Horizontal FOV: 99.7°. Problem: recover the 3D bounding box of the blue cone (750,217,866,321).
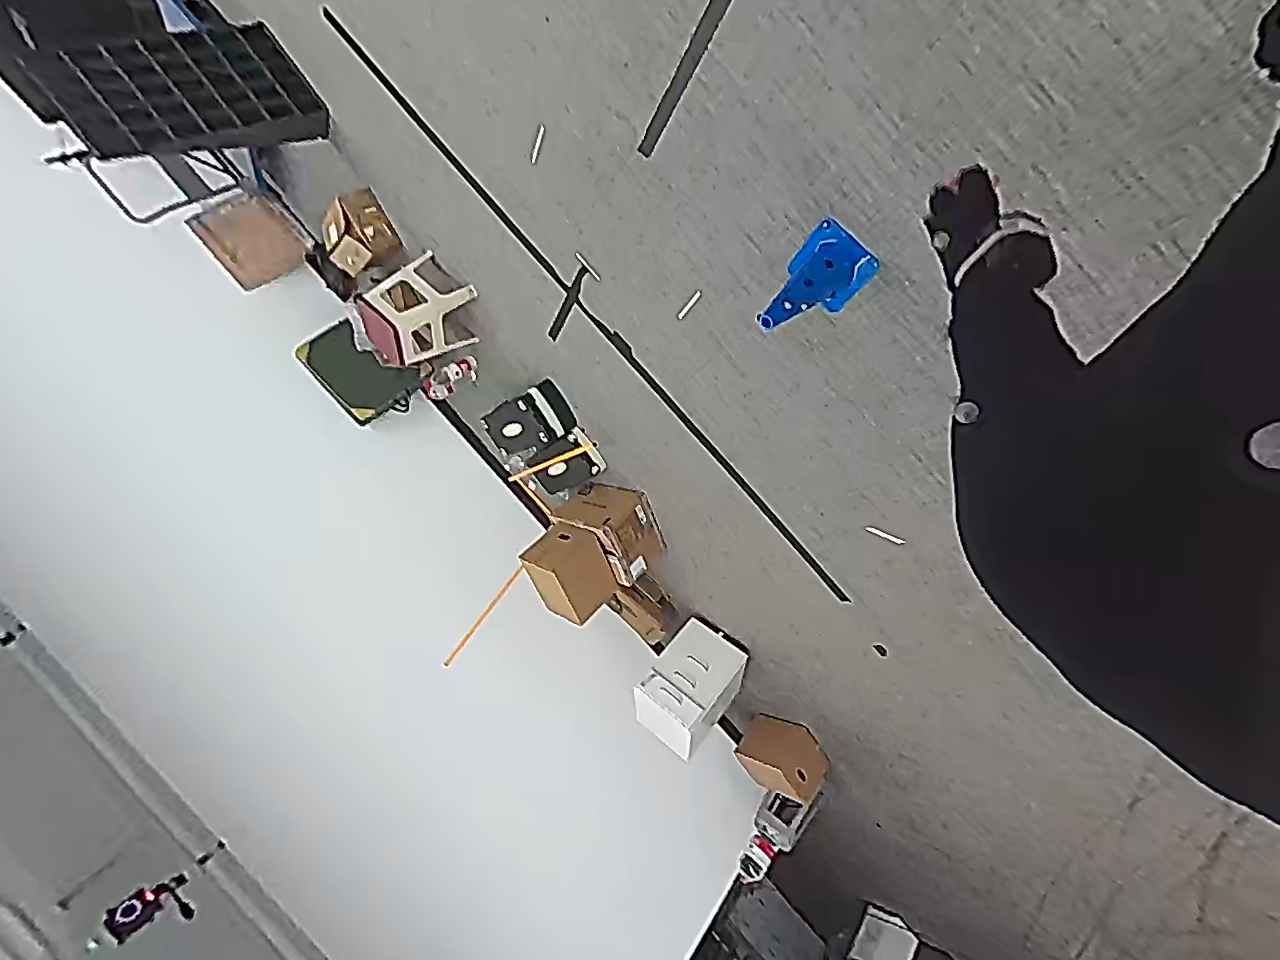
[{"bbox_3d":[0.409,-0.506,1.413,0.192,0.380,0.193,46,149,3],"label":"blue cone"}]
